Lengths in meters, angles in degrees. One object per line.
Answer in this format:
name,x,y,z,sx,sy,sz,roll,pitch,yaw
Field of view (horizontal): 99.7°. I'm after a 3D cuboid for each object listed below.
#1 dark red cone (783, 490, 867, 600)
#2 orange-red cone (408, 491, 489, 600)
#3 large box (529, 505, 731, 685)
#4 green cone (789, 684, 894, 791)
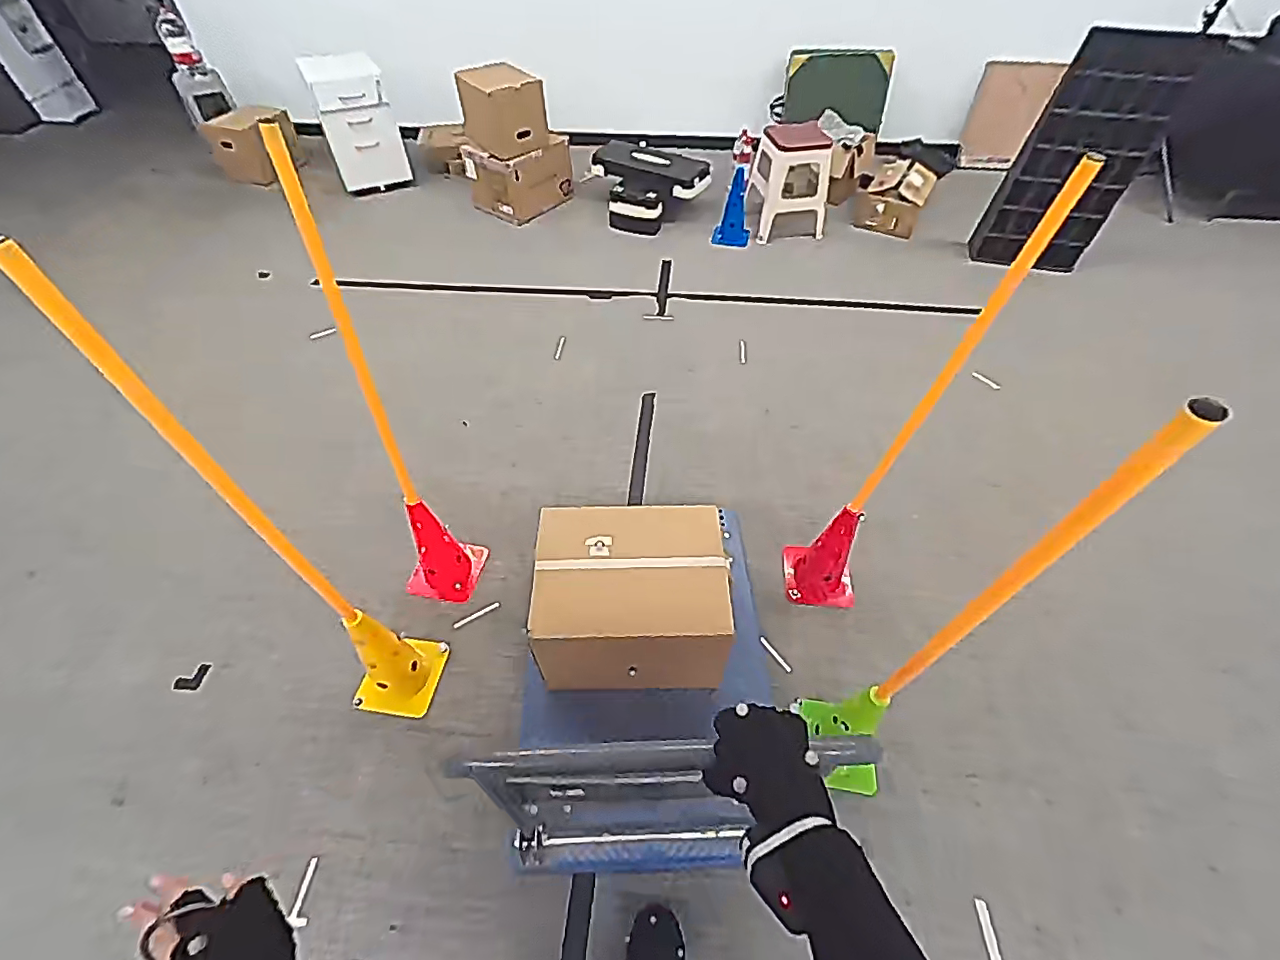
dark red cone,0.548,0.166,1.519,0.201,0.394,0.202,6,51,2
orange-red cone,-0.585,0.156,1.539,0.198,0.360,0.199,11,50,7
large box,-0.020,0.274,1.260,0.408,0.320,0.320,-1,51,0
green cone,0.481,0.548,1.226,0.202,0.368,0.200,8,51,5
